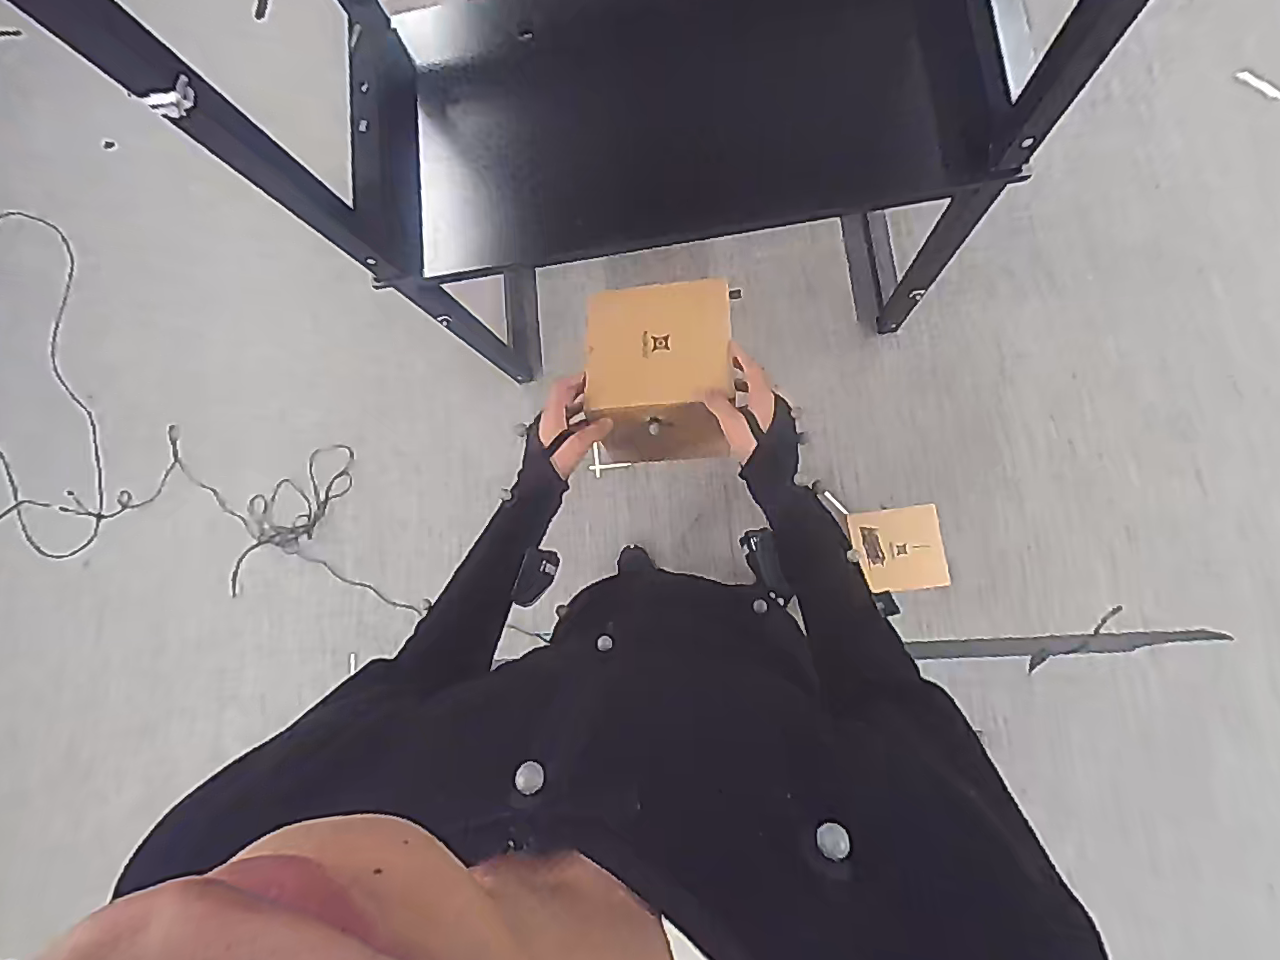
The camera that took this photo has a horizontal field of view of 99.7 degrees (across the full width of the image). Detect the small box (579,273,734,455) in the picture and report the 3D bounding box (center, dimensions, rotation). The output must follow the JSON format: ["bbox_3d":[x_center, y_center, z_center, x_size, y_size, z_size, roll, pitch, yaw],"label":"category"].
[{"bbox_3d":[0.029,-0.139,0.700,0.179,0.176,0.168,-3,71,10],"label":"small box"}]

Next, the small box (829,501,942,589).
[{"bbox_3d":[0.516,0.140,1.166,0.179,0.176,0.168,-8,83,8],"label":"small box"}]
